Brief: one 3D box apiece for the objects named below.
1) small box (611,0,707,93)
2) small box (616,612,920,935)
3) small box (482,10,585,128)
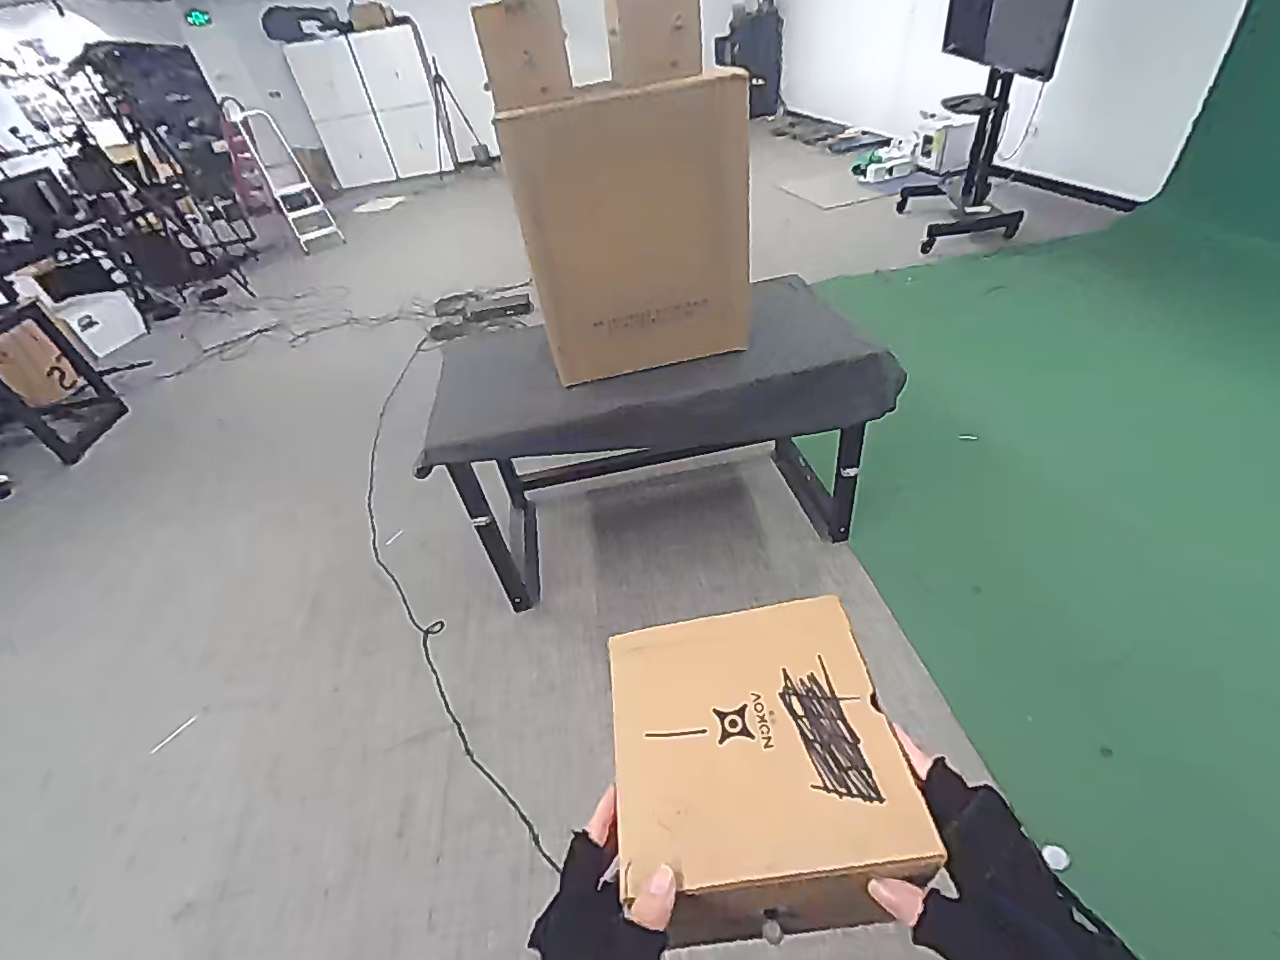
[{"bbox_3d":[0.041,-0.924,1.131,0.168,0.176,0.179,-12,40,-5],"label":"small box"},{"bbox_3d":[0.082,0.229,0.420,0.179,0.176,0.168,-10,40,4],"label":"small box"},{"bbox_3d":[-0.220,-0.856,1.133,0.168,0.176,0.179,-16,42,-5],"label":"small box"}]
